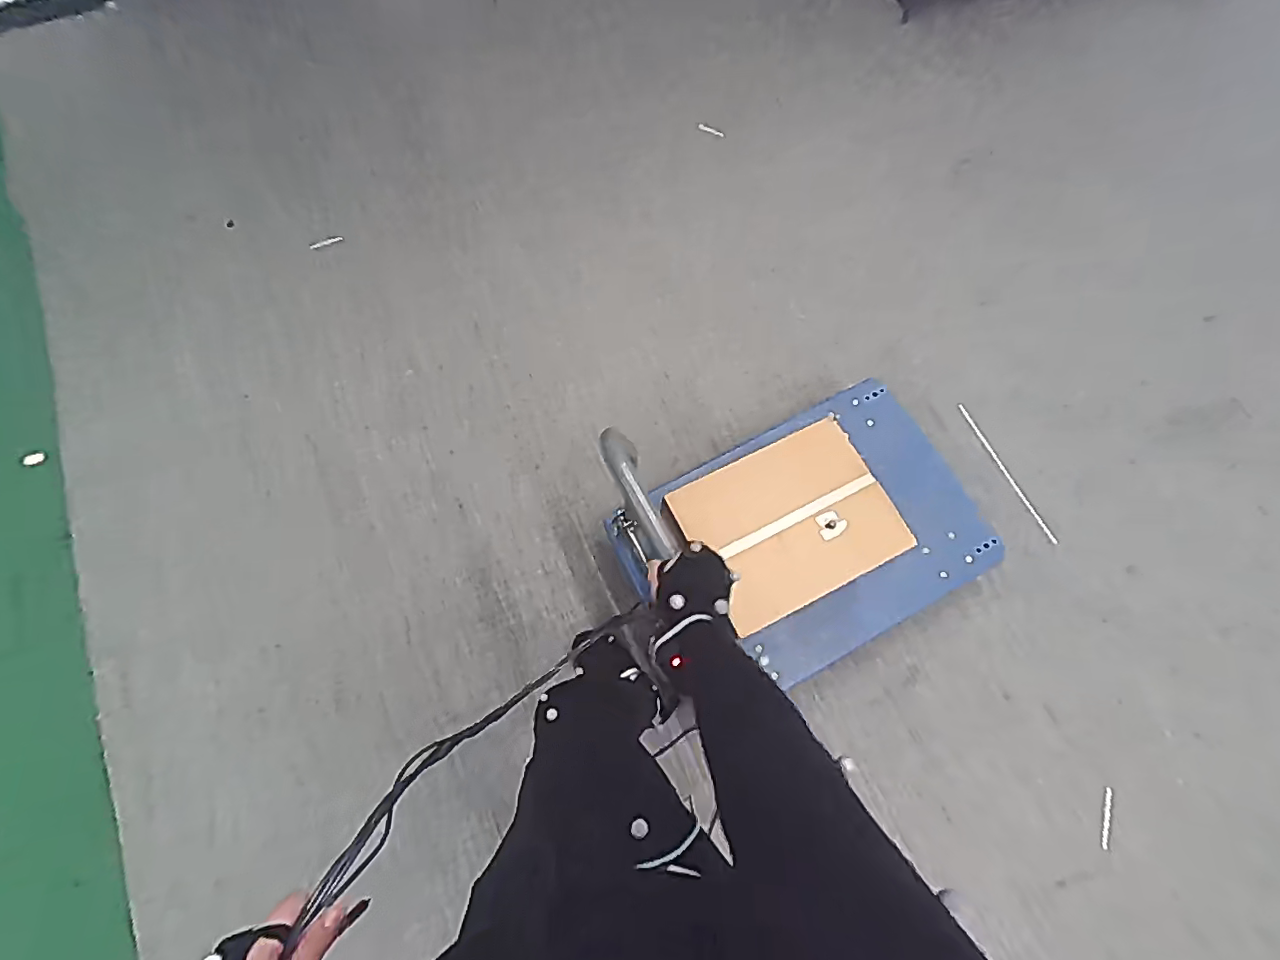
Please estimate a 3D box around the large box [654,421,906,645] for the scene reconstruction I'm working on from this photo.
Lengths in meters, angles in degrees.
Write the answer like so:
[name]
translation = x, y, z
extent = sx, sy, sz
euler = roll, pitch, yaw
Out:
[large box]
translation = 0.281, 0.134, 1.214
extent = 0.408, 0.320, 0.320
euler = -24, 75, -10
